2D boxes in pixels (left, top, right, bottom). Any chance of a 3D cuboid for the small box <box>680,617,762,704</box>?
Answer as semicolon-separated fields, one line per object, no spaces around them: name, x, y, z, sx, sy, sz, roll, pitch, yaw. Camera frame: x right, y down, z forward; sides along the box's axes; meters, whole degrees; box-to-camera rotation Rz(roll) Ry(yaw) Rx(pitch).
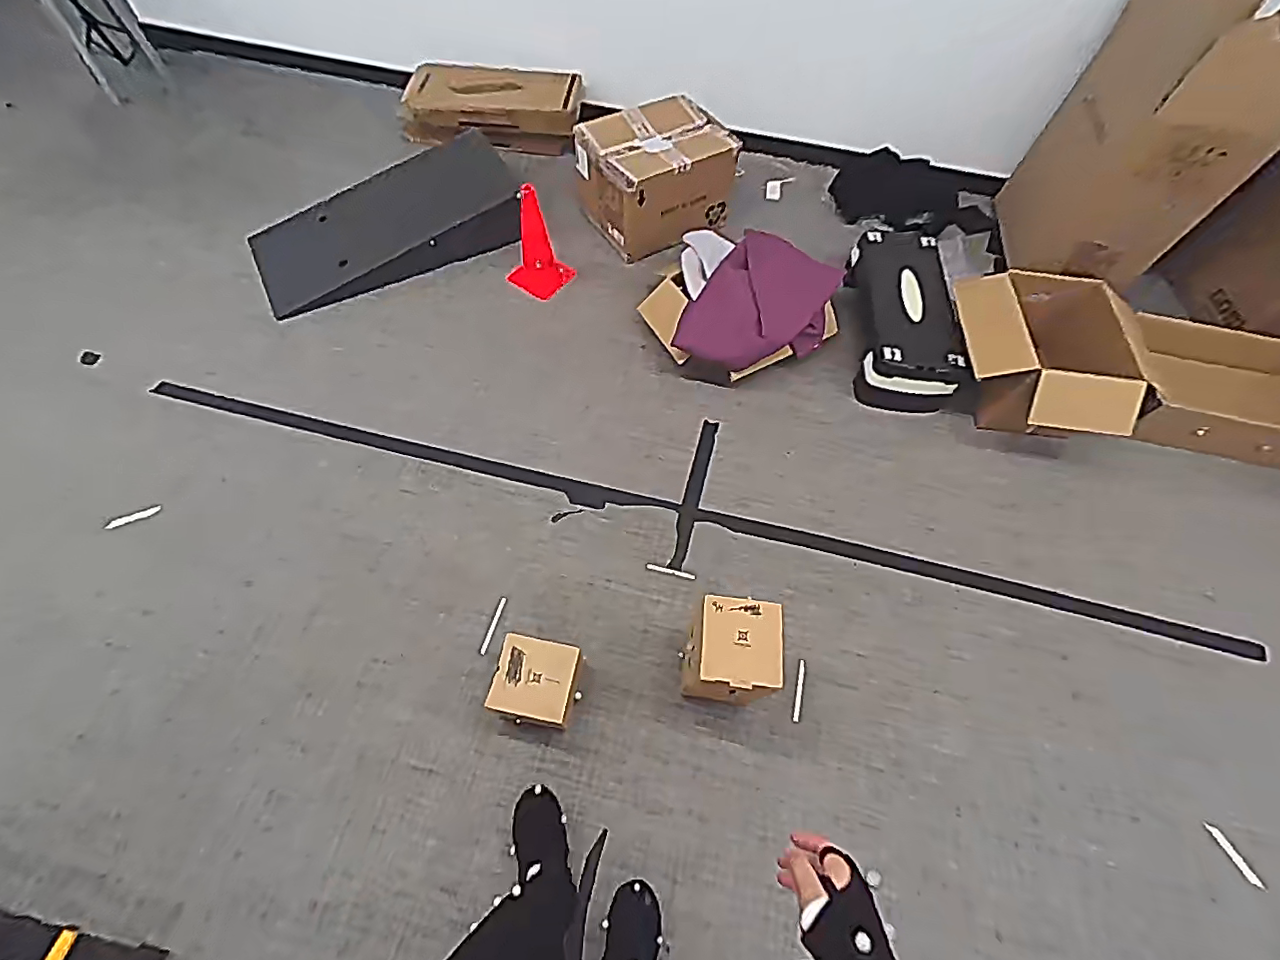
small box;0.200;0.441;1.316;0.179;0.176;0.168;8;61;2

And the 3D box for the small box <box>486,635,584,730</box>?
small box;-0.238;0.480;1.272;0.179;0.176;0.168;11;61;3

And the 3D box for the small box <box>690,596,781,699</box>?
small box;0.203;0.368;1.169;0.168;0.176;0.179;7;62;1
